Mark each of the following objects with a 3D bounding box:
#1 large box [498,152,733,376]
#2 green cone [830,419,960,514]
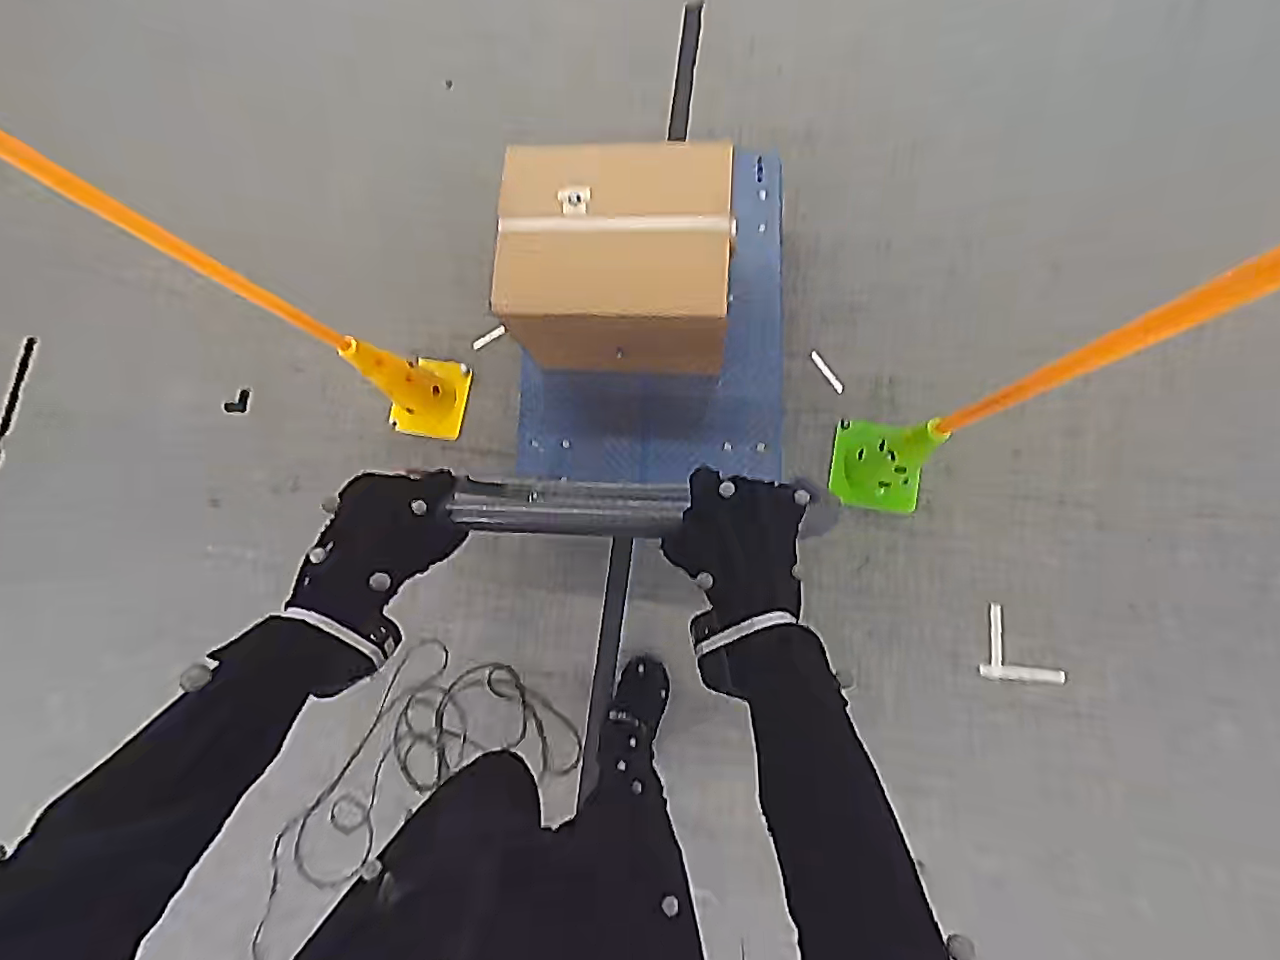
[{"bbox_3d":[-0.023,-0.400,1.079,0.408,0.320,0.320,3,83,8],"label":"large box"},{"bbox_3d":[0.541,-0.057,1.104,0.202,0.368,0.200,10,83,7],"label":"green cone"}]
